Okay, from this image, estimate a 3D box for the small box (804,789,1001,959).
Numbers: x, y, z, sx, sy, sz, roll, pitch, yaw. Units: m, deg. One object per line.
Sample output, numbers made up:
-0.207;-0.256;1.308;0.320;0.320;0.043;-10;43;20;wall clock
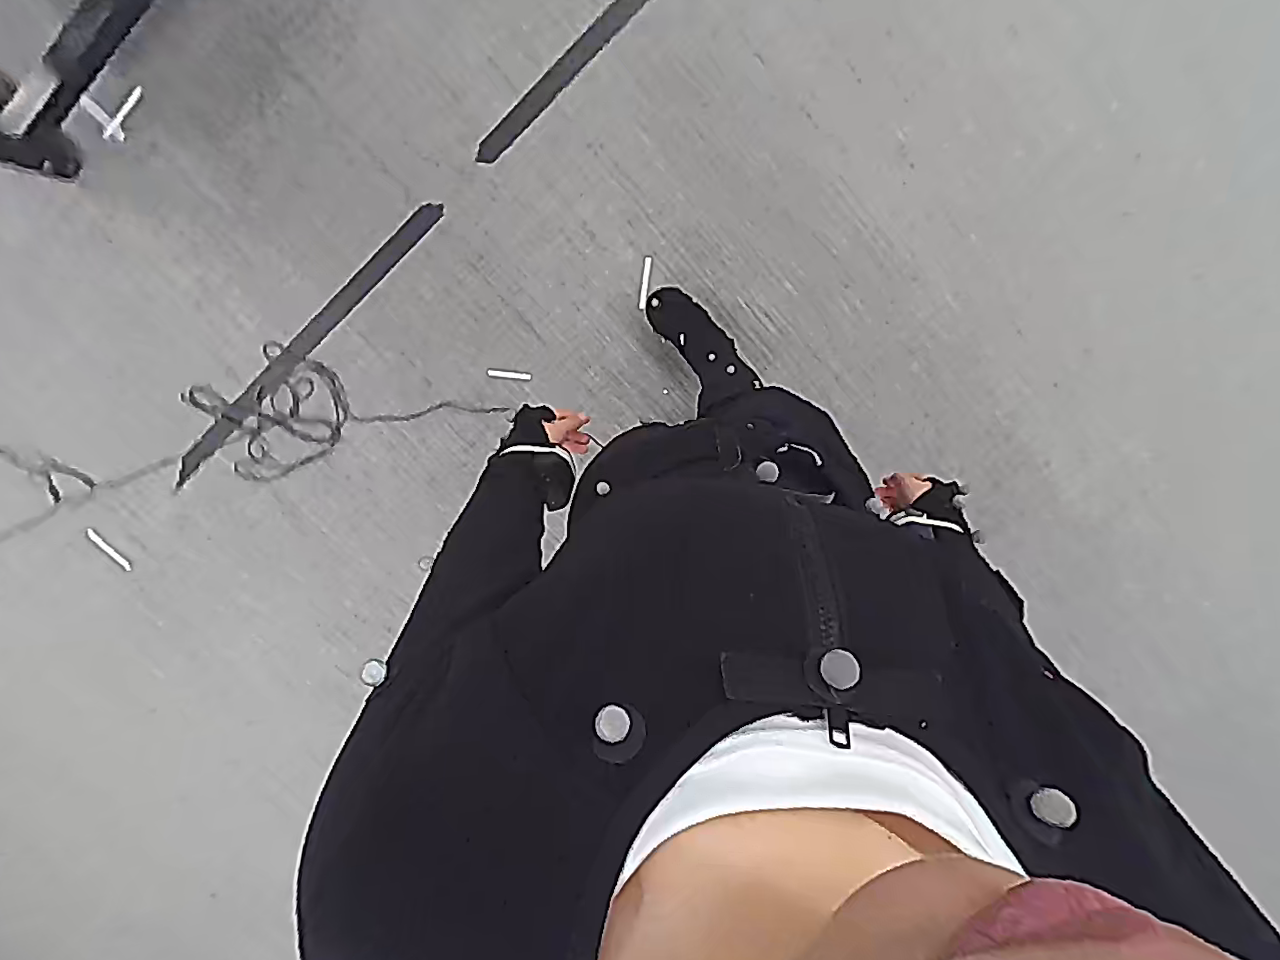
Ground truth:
0.377;0.613;0.811;0.179;0.176;0.168;-38;99;11;small box
